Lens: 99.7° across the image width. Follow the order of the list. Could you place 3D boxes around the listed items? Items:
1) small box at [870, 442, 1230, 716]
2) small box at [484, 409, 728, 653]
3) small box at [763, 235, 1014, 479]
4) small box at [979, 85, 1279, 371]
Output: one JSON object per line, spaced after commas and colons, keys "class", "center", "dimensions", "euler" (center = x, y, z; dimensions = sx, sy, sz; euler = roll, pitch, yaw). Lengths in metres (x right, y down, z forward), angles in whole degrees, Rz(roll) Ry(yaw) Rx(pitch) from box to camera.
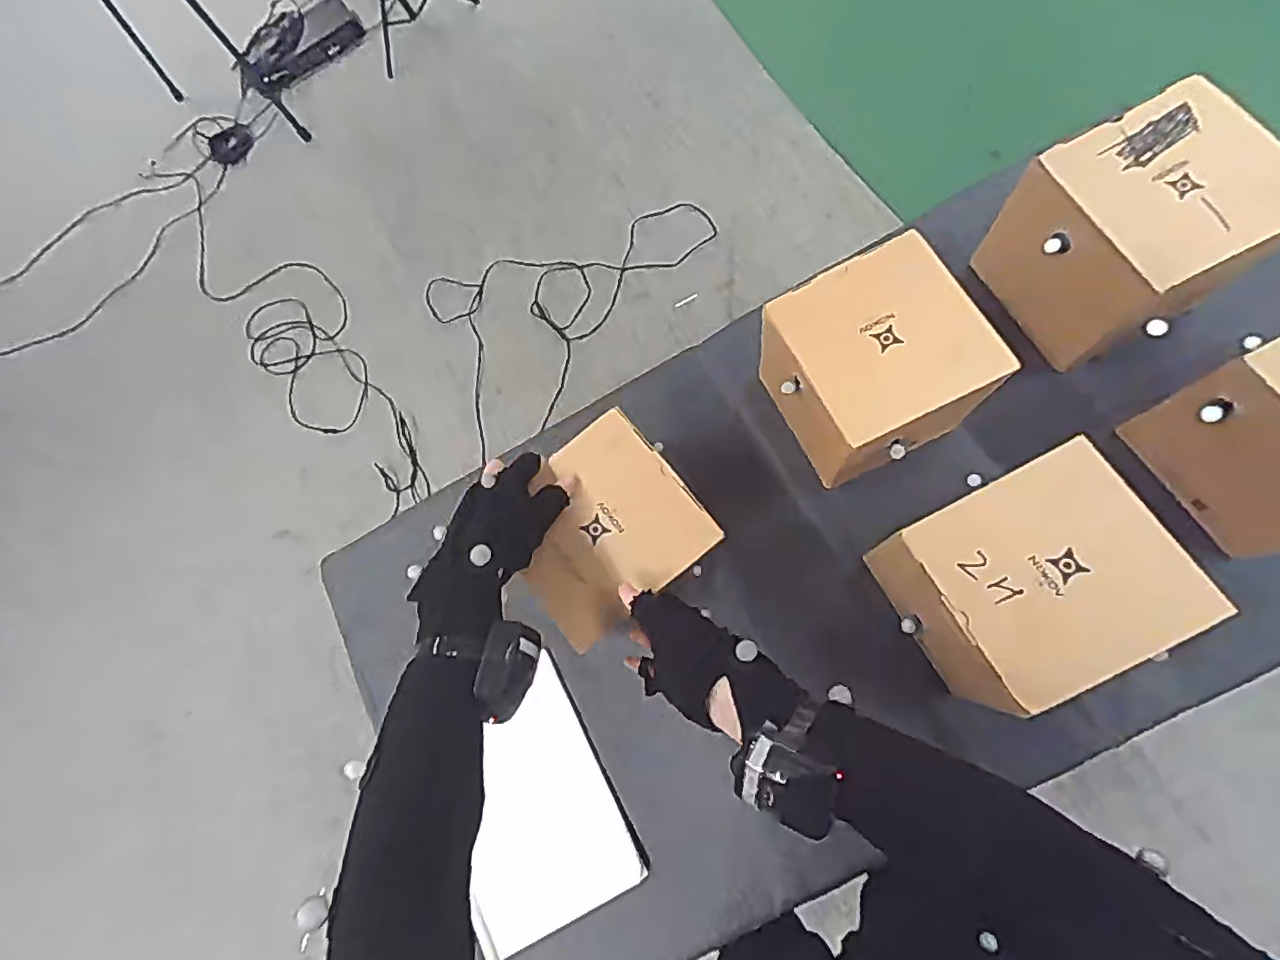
{"class": "small box", "center": [0.348, 0.094, 0.508], "dimensions": [0.179, 0.176, 0.168], "euler": [-29, 70, 4]}
{"class": "small box", "center": [-0.030, 0.054, 0.585], "dimensions": [0.179, 0.176, 0.168], "euler": [-39, 81, -1]}
{"class": "small box", "center": [0.247, -0.115, 0.590], "dimensions": [0.168, 0.176, 0.179], "euler": [-26, 71, 4]}
{"class": "small box", "center": [0.504, -0.249, 0.569], "dimensions": [0.168, 0.176, 0.179], "euler": [-27, 72, 4]}
